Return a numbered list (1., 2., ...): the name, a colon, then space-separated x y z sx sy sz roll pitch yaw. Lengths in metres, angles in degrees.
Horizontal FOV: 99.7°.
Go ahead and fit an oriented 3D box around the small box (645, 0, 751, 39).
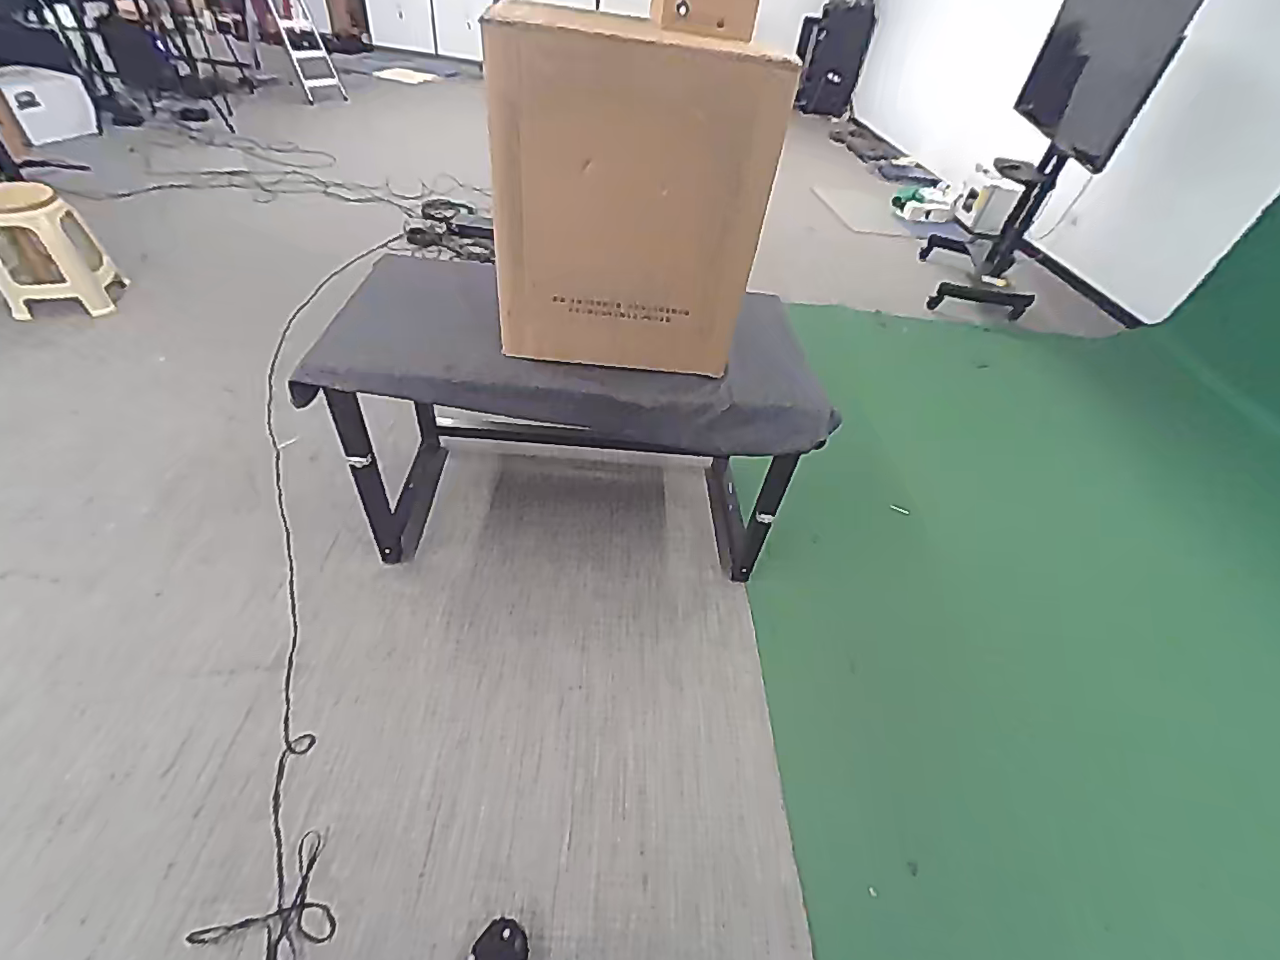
1. small box: 0.105 -0.894 0.946 0.168 0.176 0.179 0 45 -9
